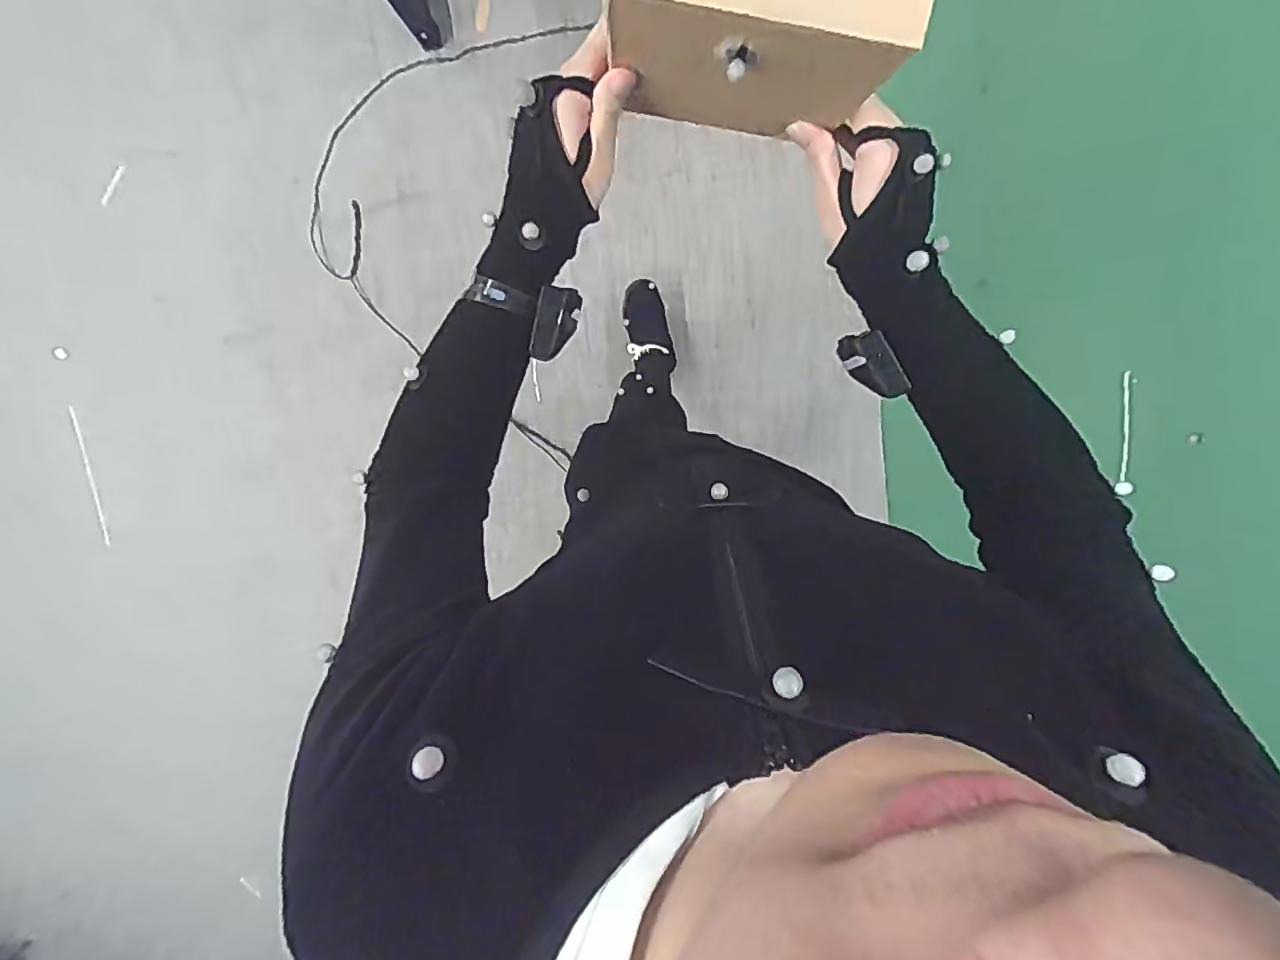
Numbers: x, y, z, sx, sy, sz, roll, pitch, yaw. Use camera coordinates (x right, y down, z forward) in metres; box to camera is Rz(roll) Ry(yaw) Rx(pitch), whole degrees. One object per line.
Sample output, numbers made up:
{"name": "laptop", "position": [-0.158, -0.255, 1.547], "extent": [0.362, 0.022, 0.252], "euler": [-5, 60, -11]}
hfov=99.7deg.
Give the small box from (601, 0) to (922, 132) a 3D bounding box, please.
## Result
{"name": "small box", "position": [0.070, -0.342, 0.332], "extent": [0.179, 0.176, 0.168], "euler": [9, 106, -3]}
